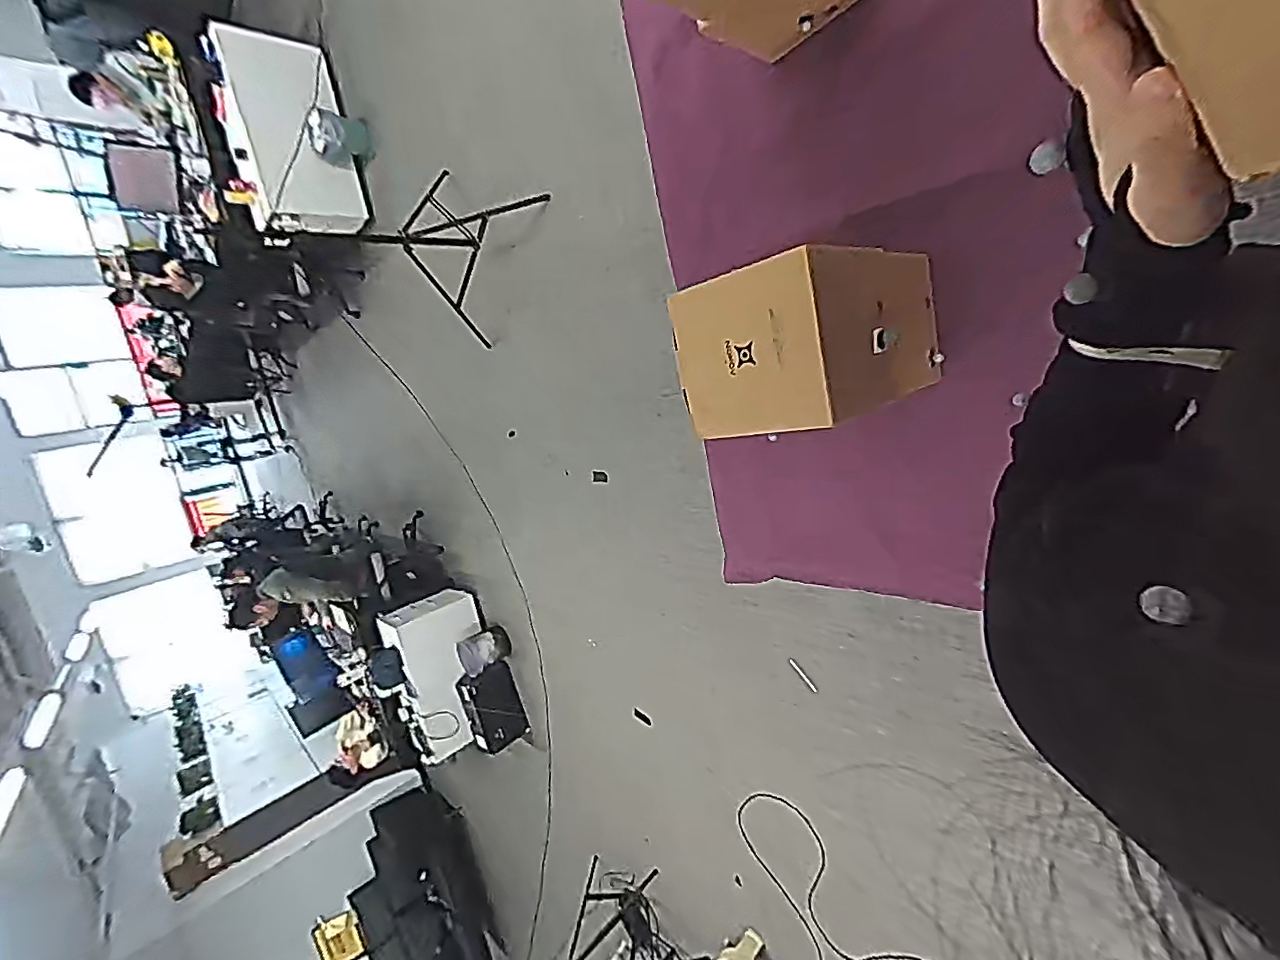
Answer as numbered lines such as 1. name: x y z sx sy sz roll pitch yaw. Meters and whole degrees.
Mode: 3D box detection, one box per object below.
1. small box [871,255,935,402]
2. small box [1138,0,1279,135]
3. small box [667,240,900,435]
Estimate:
1. small box: 0.268 -0.190 0.713 0.179 0.176 0.168 -1 104 49
2. small box: 0.233 -0.225 0.144 0.168 0.176 0.179 -28 93 50
3. small box: 0.160 -0.150 0.599 0.179 0.176 0.168 -2 104 47
